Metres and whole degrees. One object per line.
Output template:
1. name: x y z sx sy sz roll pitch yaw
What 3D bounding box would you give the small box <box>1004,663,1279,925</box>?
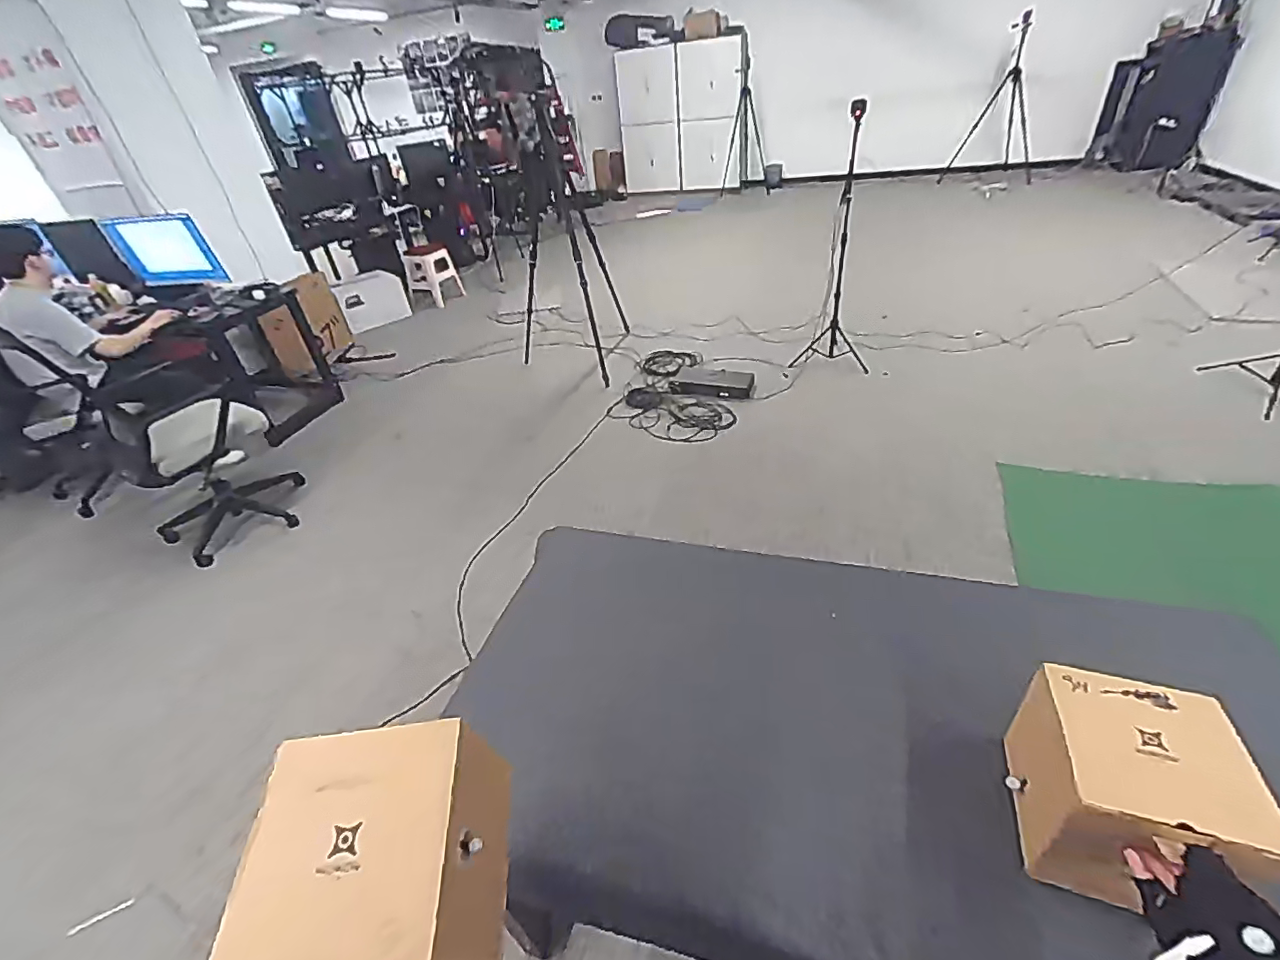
1. small box: 0.535 0.345 0.605 0.168 0.176 0.179 9 36 20

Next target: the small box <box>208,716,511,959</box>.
1. small box: -0.220 0.334 0.478 0.168 0.176 0.179 -8 48 0
